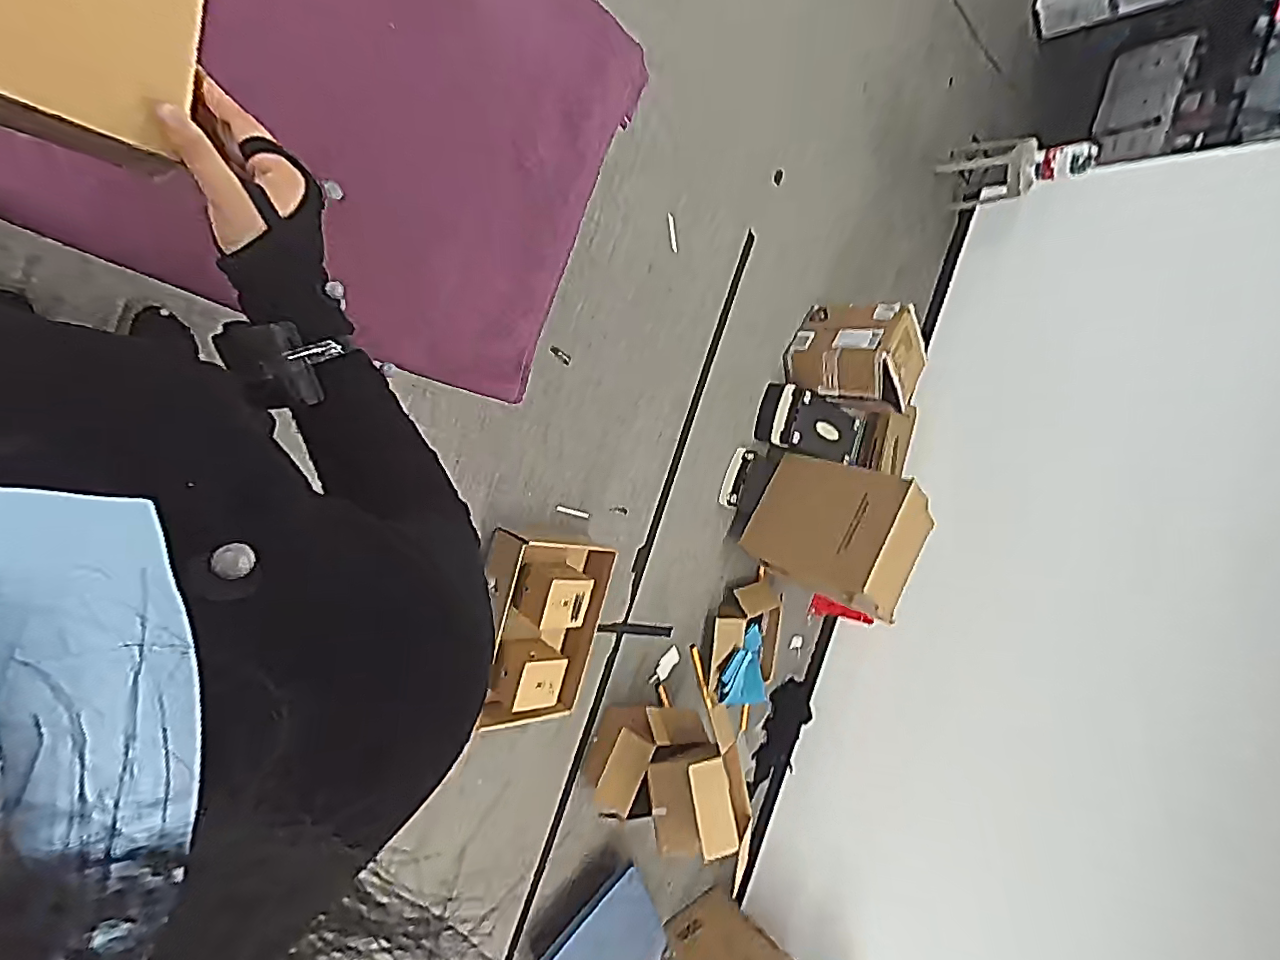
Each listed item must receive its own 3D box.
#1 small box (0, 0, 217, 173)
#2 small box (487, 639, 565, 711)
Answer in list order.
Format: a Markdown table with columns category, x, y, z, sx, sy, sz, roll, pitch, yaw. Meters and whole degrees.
| category | x | y | z | sx | sy | sz | roll | pitch | yaw |
| --- | --- | --- | --- | --- | --- | --- | --- | --- | --- |
| small box | -0.391 | -0.317 | 0.339 | 0.179 | 0.176 | 0.168 | 7 | 103 | -46 |
| small box | -0.386 | 0.644 | 1.807 | 0.179 | 0.176 | 0.168 | 15 | 93 | -46 |
